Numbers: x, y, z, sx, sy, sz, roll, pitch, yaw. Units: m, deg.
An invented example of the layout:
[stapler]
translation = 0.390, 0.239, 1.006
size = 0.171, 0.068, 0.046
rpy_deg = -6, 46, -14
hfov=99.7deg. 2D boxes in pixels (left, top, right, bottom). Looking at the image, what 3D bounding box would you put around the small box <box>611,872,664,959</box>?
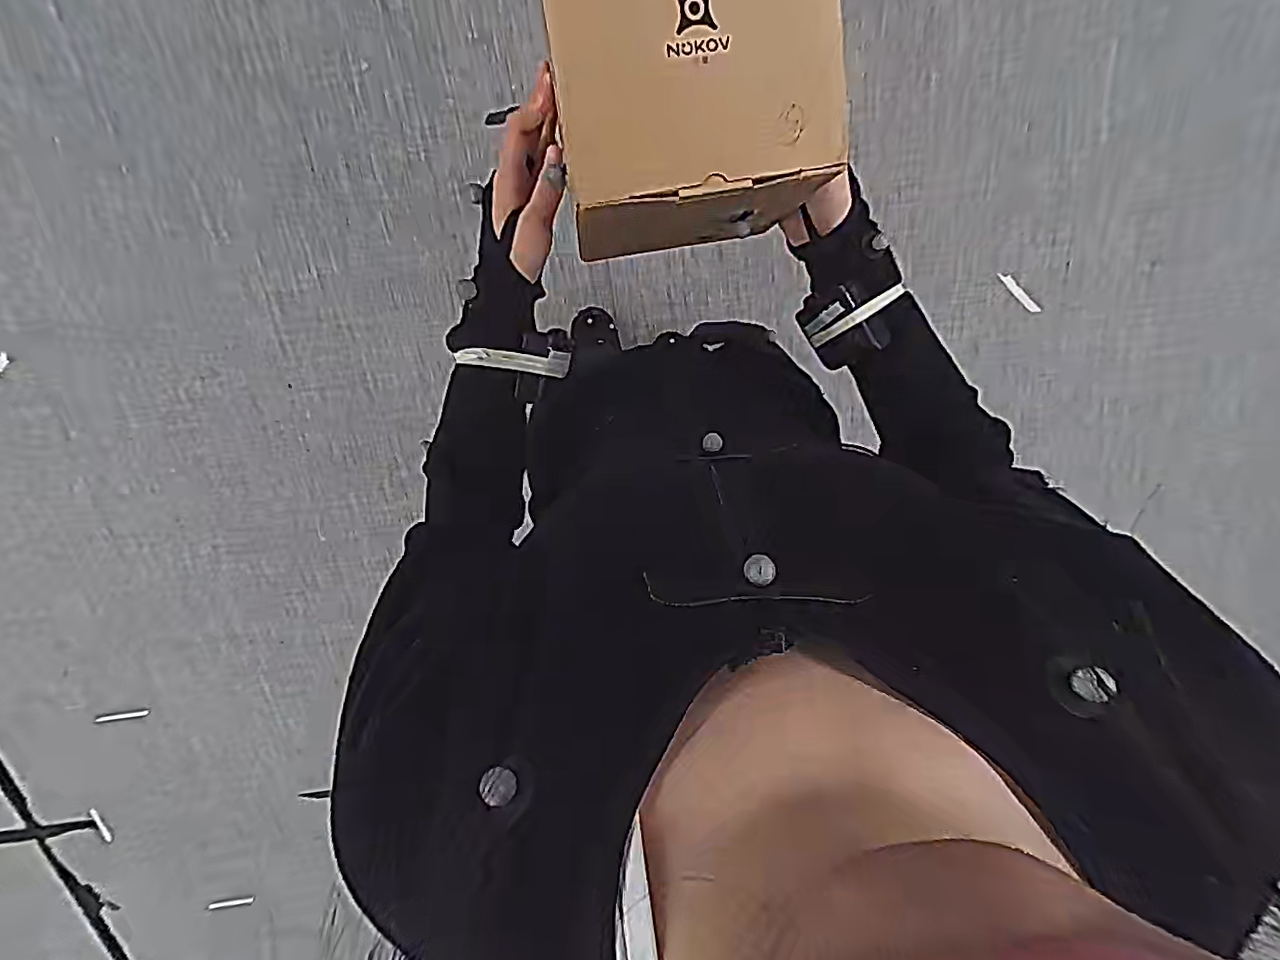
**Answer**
[small box]
translation = -0.011, 1.533, 1.907
size = 0.168, 0.176, 0.179
rpy_deg = -9, 107, -2
